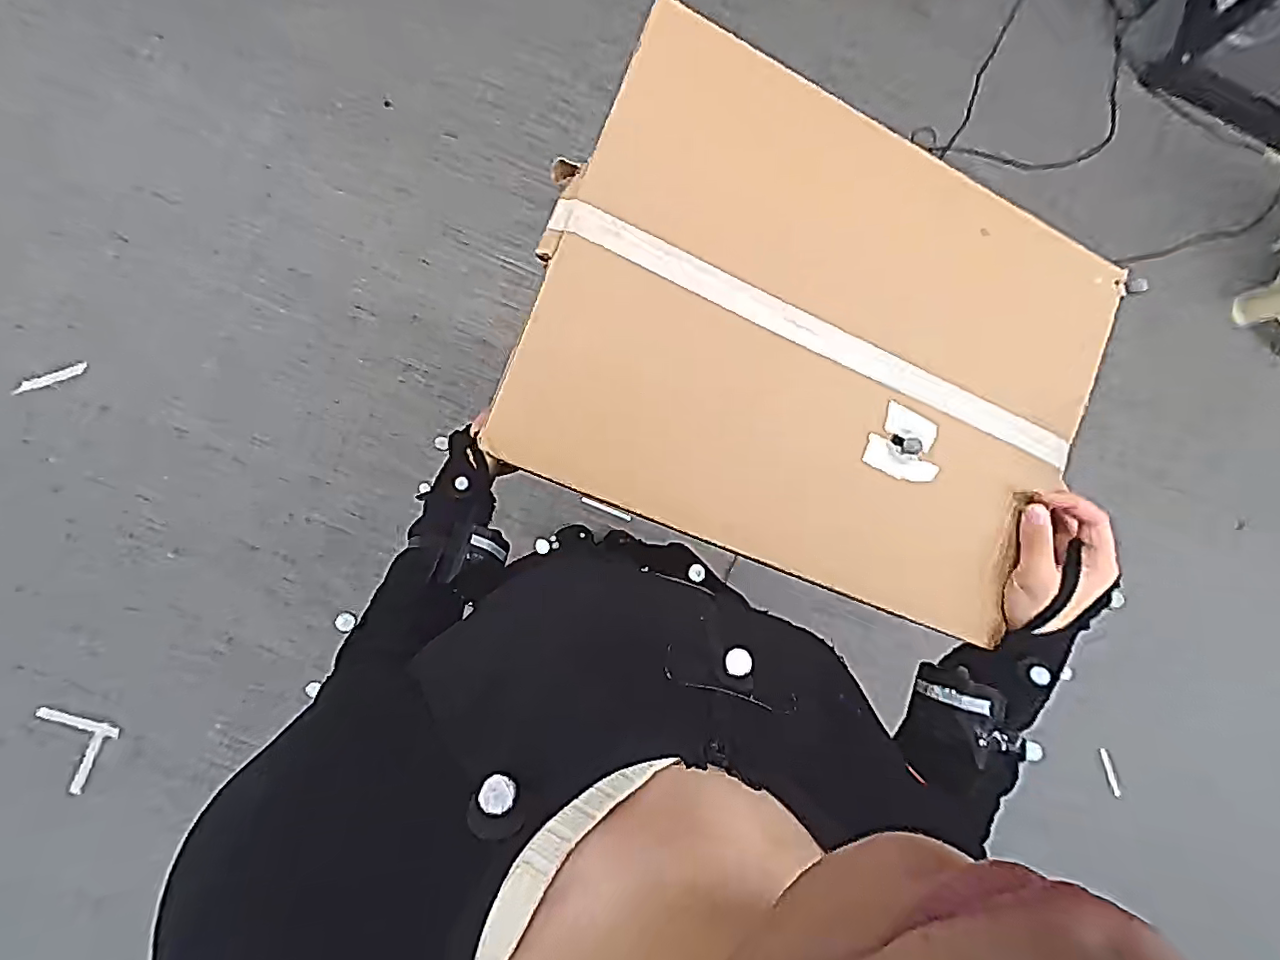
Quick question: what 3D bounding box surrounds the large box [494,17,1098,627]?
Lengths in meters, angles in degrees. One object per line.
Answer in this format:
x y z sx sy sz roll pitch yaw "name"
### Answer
0.104 -0.097 0.528 0.408 0.320 0.320 22 87 -13 "large box"
